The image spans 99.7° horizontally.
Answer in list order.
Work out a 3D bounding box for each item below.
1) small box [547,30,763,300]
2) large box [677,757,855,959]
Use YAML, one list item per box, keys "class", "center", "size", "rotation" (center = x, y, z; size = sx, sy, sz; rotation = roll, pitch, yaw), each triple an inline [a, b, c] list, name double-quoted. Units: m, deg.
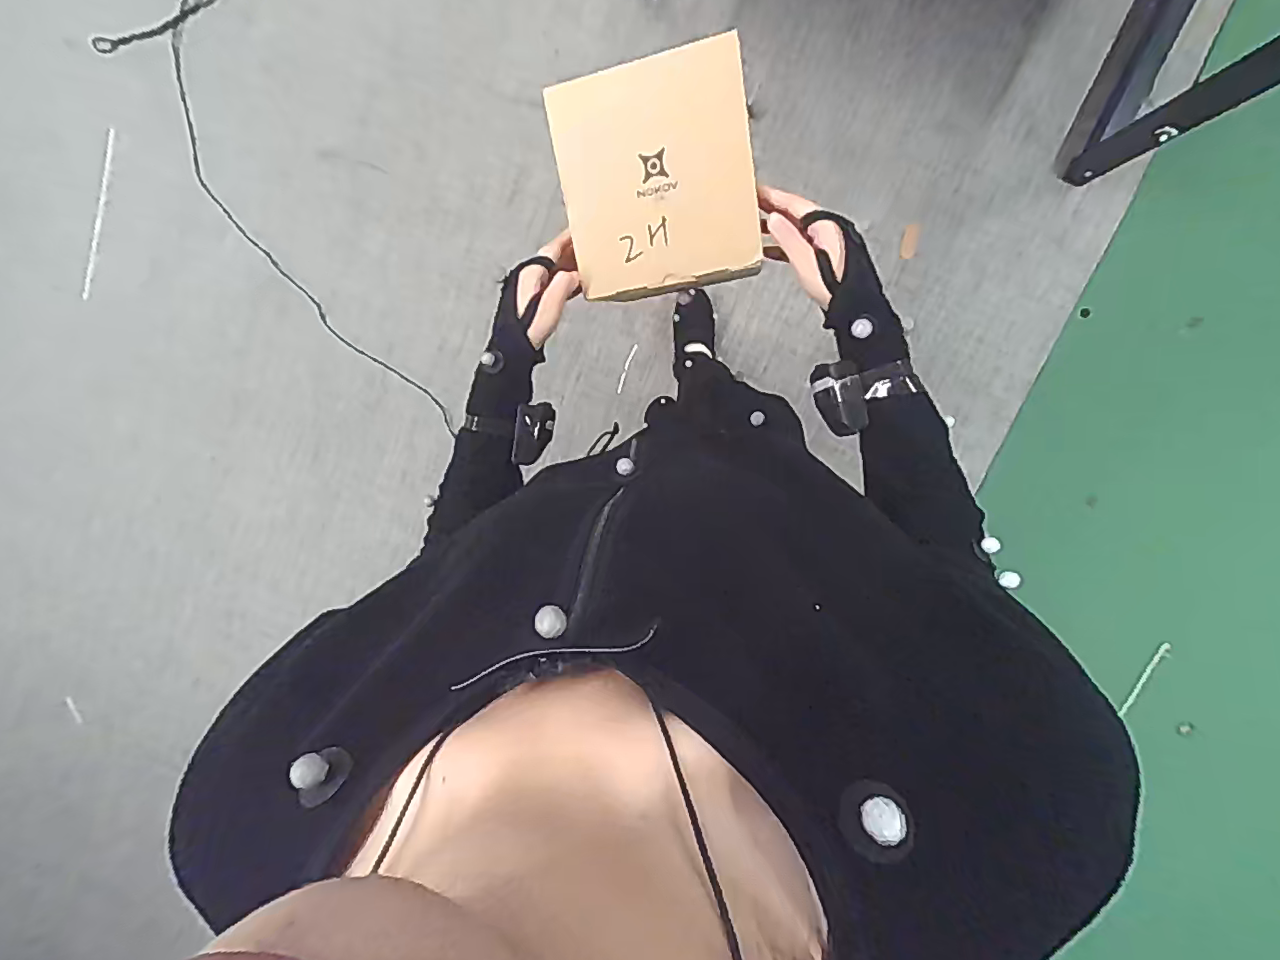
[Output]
- class: "small box"
  center: [0.027, -0.283, 0.534]
  size: [0.168, 0.176, 0.179]
  rotation: [-7, 106, 13]
- class: "large box"
  center: [0.319, 1.024, 1.500]
  size: [0.408, 0.320, 0.320]
  rotation: [8, 100, 1]
